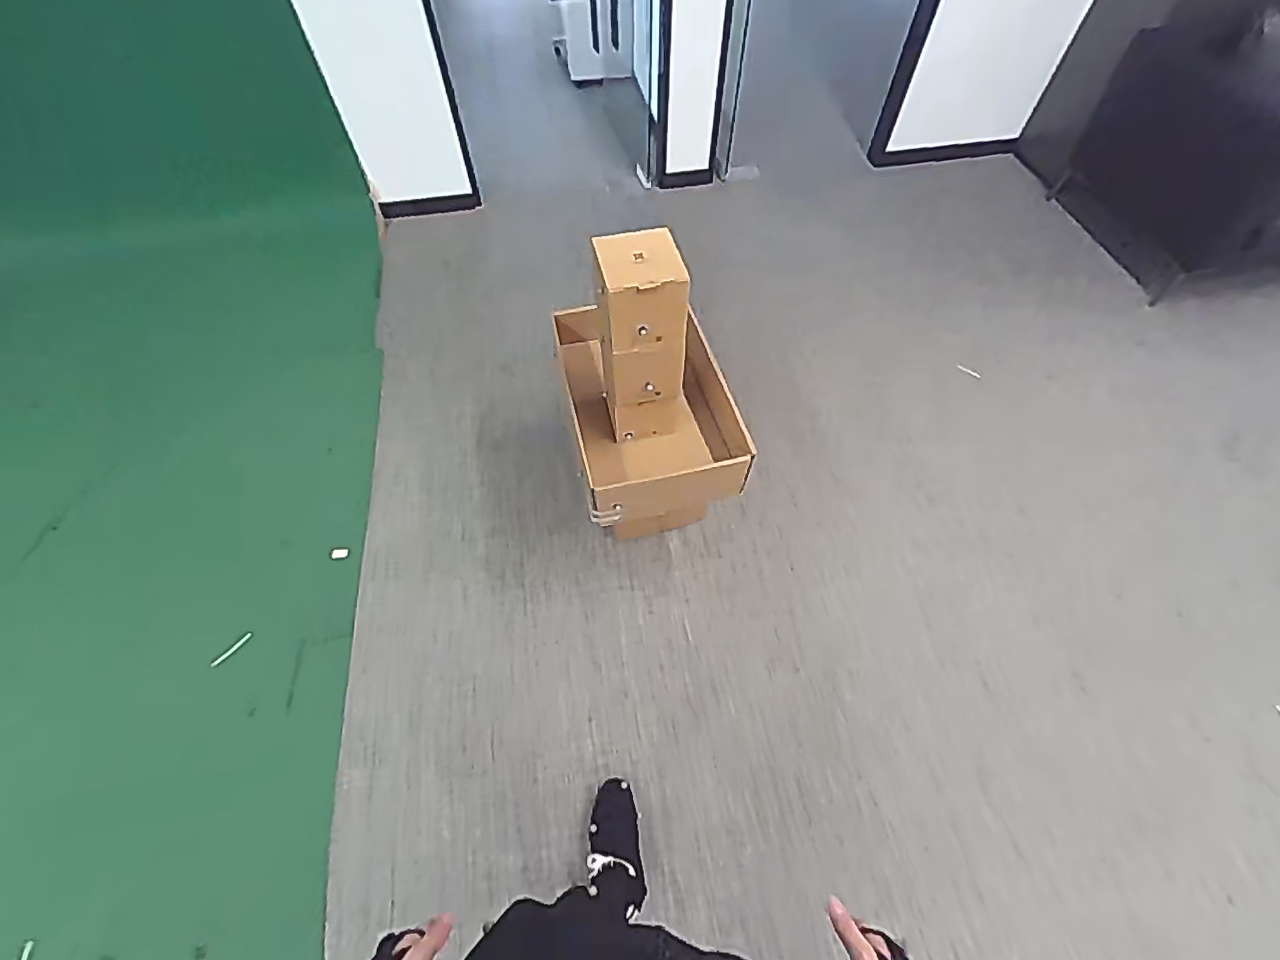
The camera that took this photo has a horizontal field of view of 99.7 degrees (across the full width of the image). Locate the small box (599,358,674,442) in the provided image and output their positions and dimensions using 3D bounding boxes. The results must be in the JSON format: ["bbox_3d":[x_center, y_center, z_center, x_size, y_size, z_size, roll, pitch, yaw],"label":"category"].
[{"bbox_3d":[-0.008,-0.216,1.423,0.168,0.176,0.179,-11,56,-7],"label":"small box"}]

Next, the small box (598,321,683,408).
[{"bbox_3d":[-0.005,-0.298,1.280,0.168,0.176,0.179,-12,57,-7],"label":"small box"}]

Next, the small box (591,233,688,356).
[{"bbox_3d":[-0.006,-0.391,1.147,0.168,0.176,0.179,-12,58,-8],"label":"small box"}]
